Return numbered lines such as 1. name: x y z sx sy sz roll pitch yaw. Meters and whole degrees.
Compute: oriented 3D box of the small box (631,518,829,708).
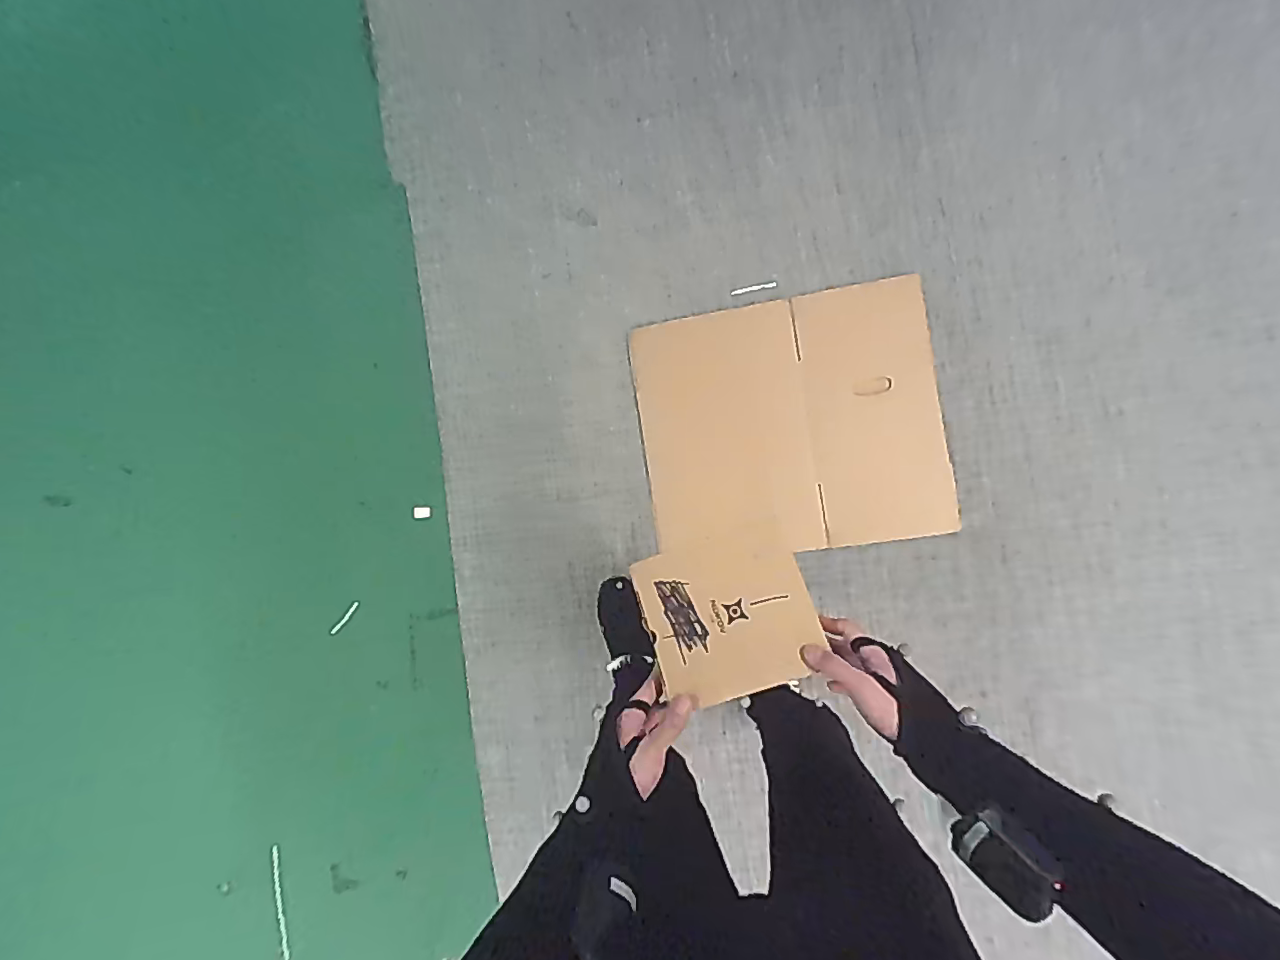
1. small box: 0.106 0.165 0.654 0.179 0.176 0.168 -18 70 5
